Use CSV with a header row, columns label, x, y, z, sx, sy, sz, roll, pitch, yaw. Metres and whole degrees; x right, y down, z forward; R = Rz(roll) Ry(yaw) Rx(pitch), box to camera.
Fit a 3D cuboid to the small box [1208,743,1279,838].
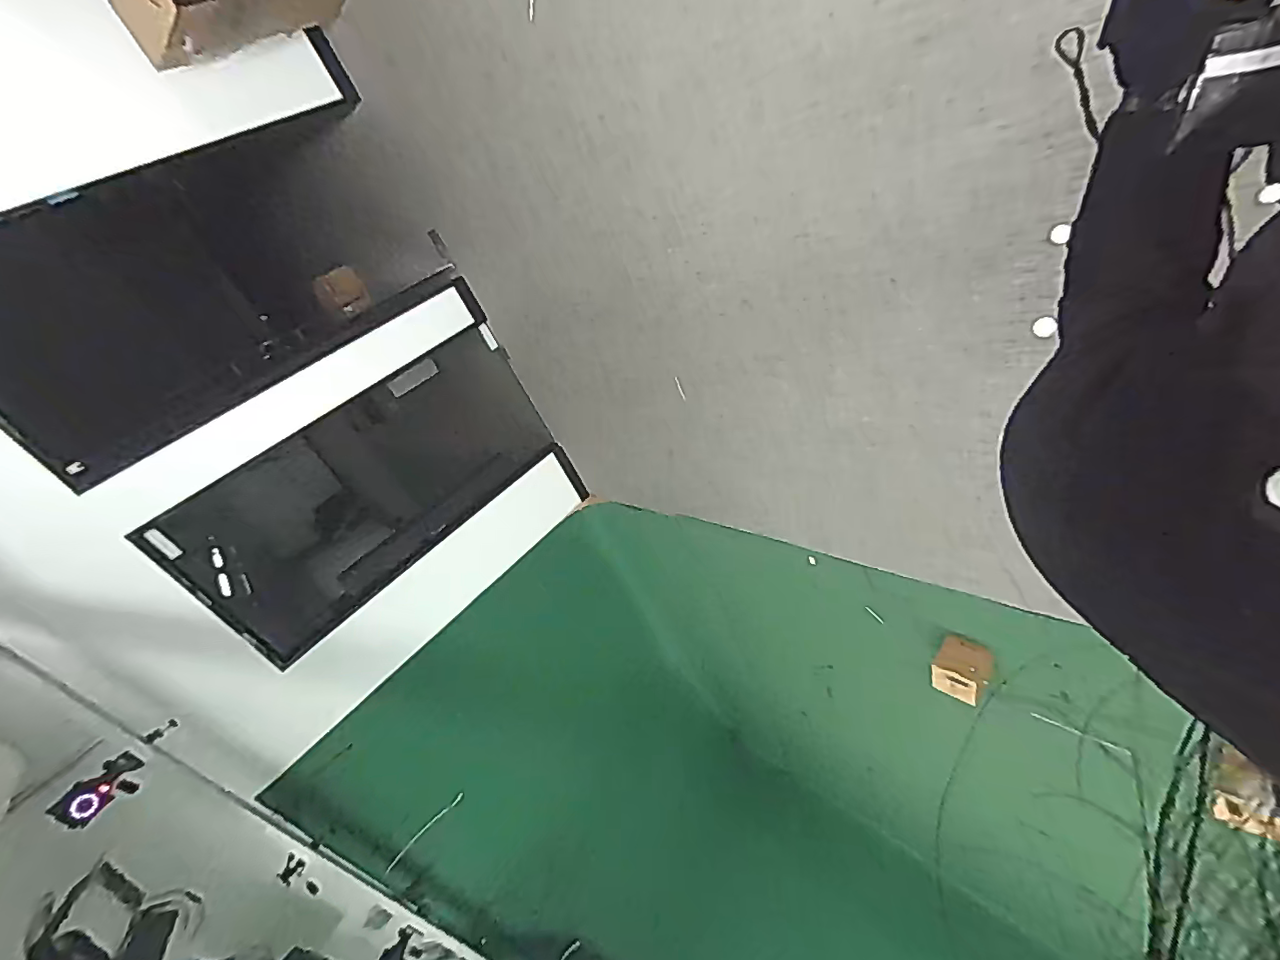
label,x,y,z,sx,sy,sz,roll,pitch,yaw
small box,1.876,0.938,1.646,0.179,0.176,0.168,8,135,49
